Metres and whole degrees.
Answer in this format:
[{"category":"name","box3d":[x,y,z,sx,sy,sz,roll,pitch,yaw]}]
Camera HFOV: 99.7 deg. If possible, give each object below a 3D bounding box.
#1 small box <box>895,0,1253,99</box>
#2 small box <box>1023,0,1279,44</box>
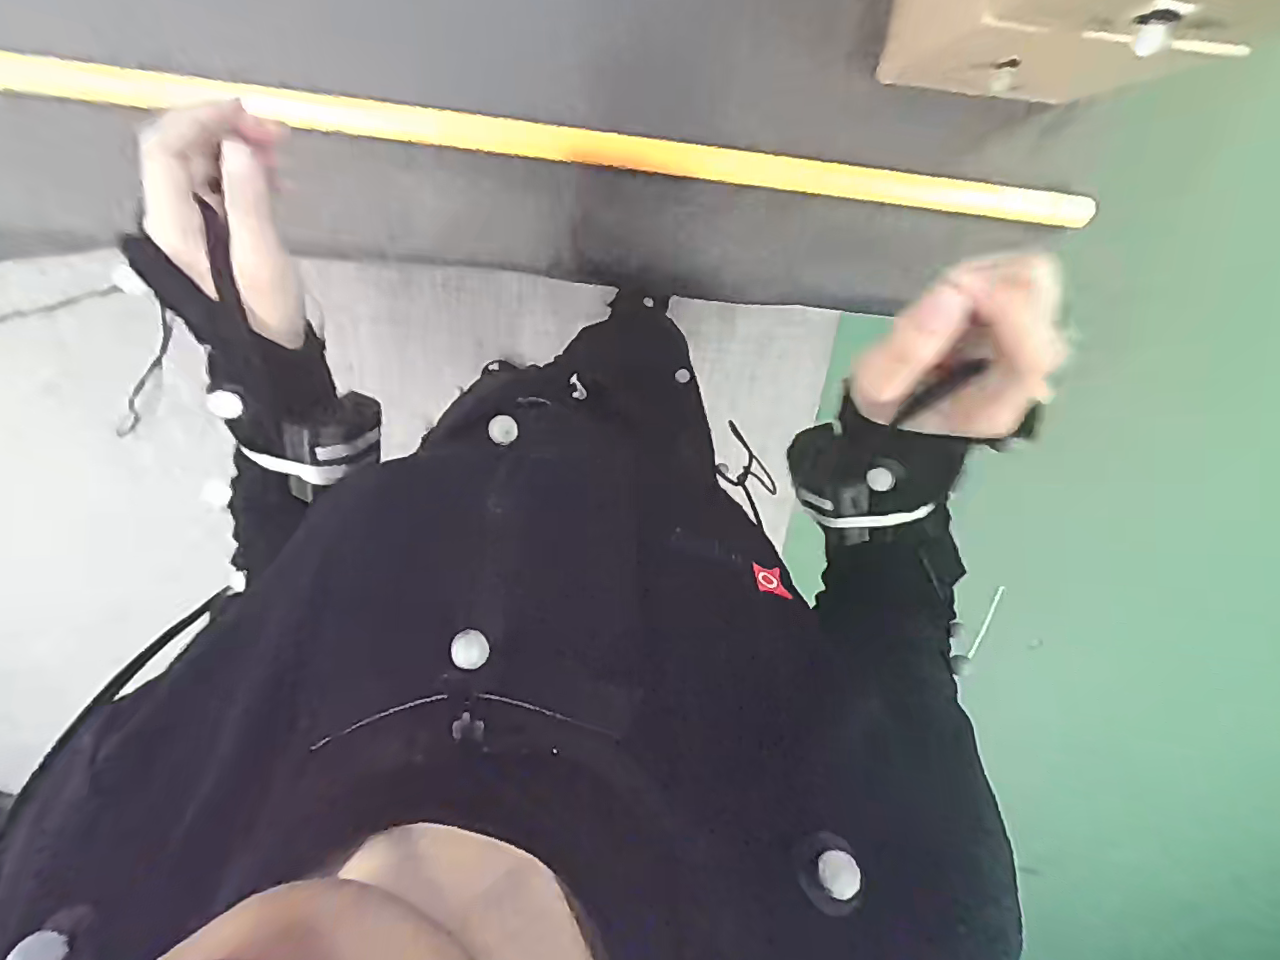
[{"category":"small box","box3d":[0.293,-0.372,0.353,0.168,0.176,0.179,6,115,0]},{"category":"small box","box3d":[0.293,-0.304,0.205,0.168,0.176,0.179,5,116,1]}]
